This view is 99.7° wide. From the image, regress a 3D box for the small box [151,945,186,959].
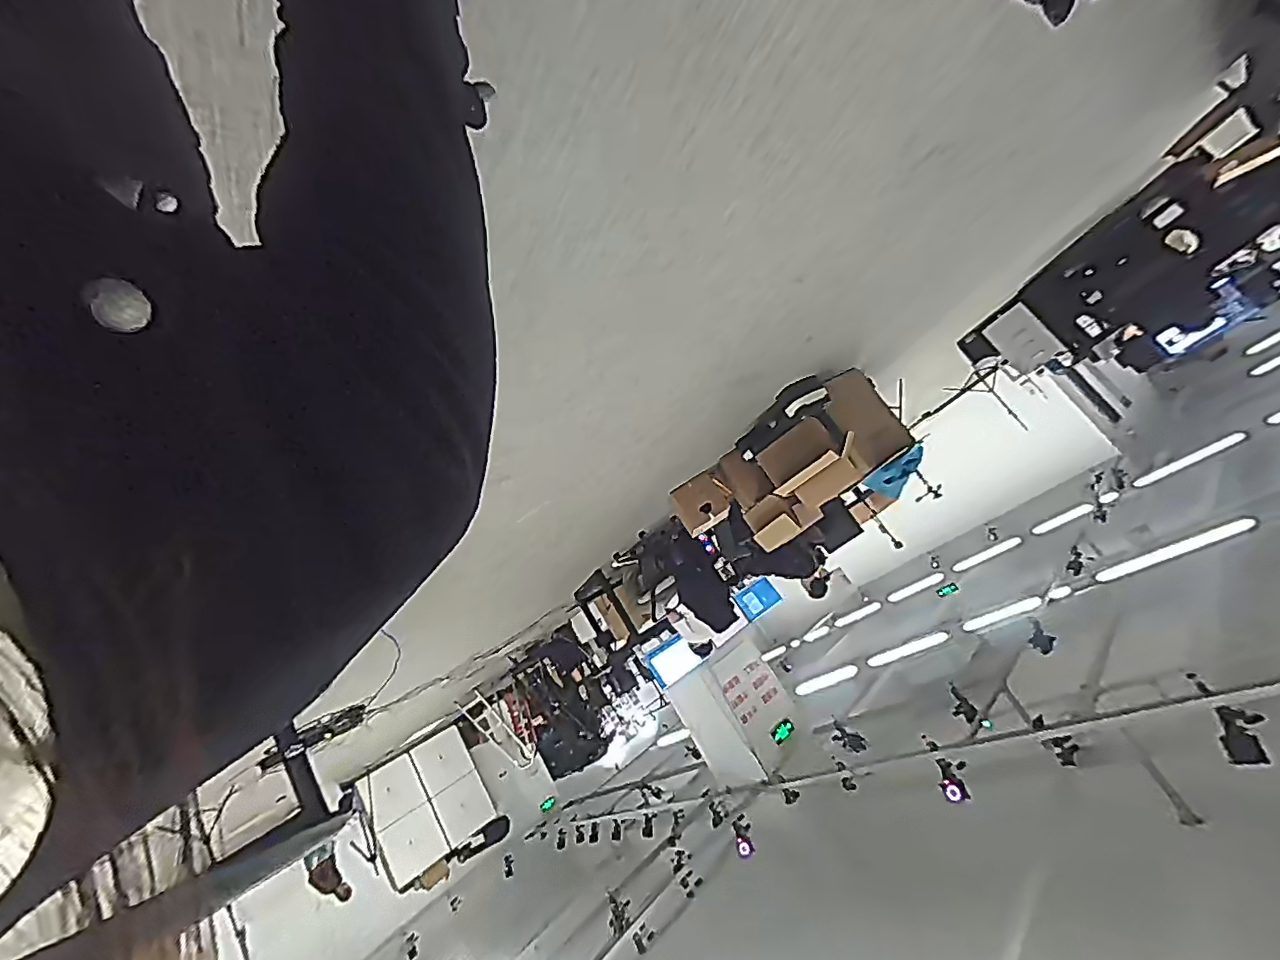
[{"bbox_3d":[-1.377,1.452,1.507,0.179,0.176,0.168,-19,160,-40],"label":"small box"}]
